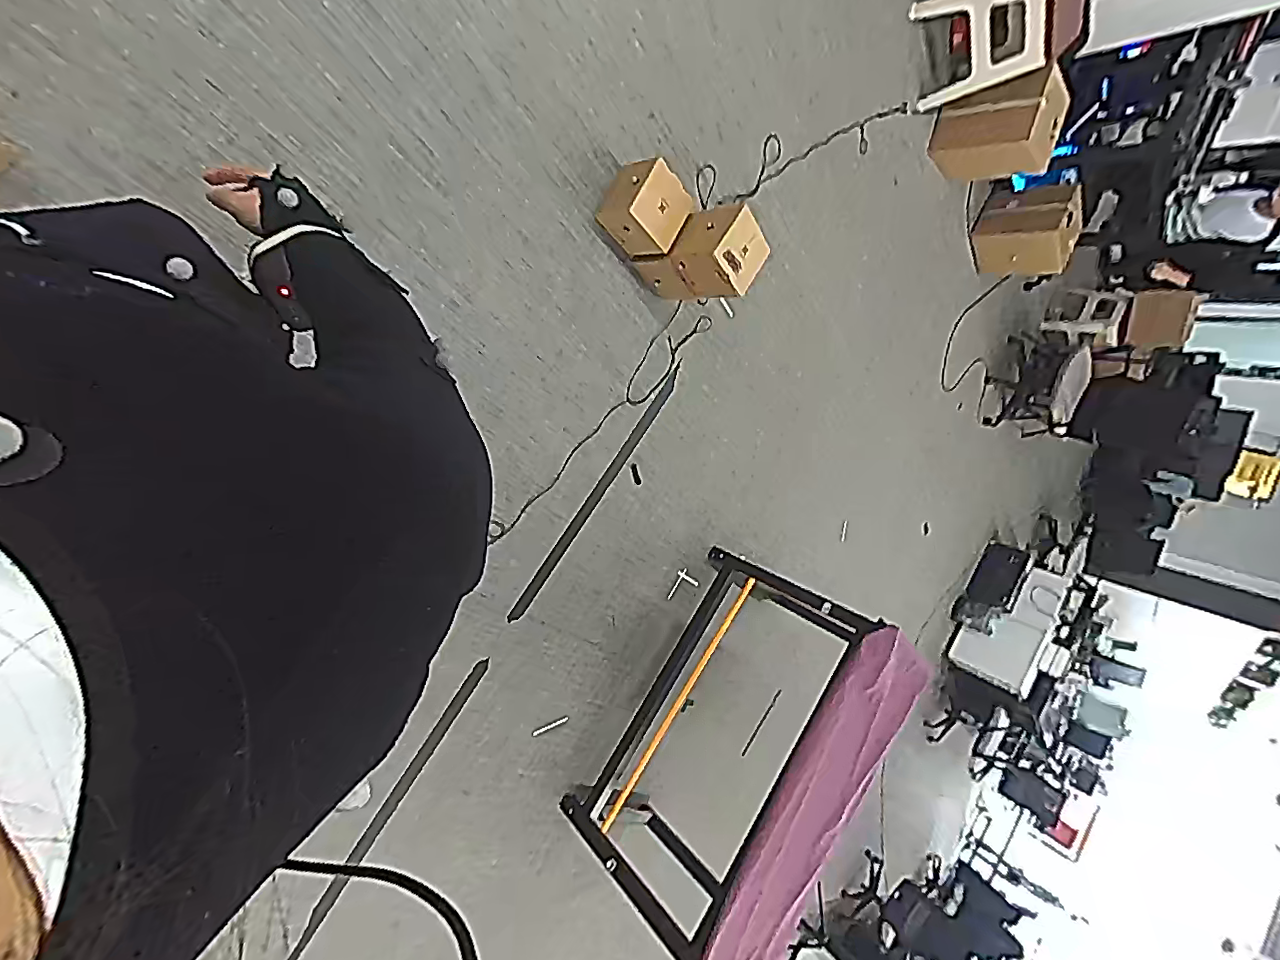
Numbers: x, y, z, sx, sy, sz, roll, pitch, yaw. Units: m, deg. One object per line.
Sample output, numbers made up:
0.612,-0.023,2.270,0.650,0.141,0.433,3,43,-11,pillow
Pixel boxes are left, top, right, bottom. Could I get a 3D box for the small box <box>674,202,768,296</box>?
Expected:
0.217,-0.634,1.502,0.168,0.176,0.179,41,76,-42,small box
